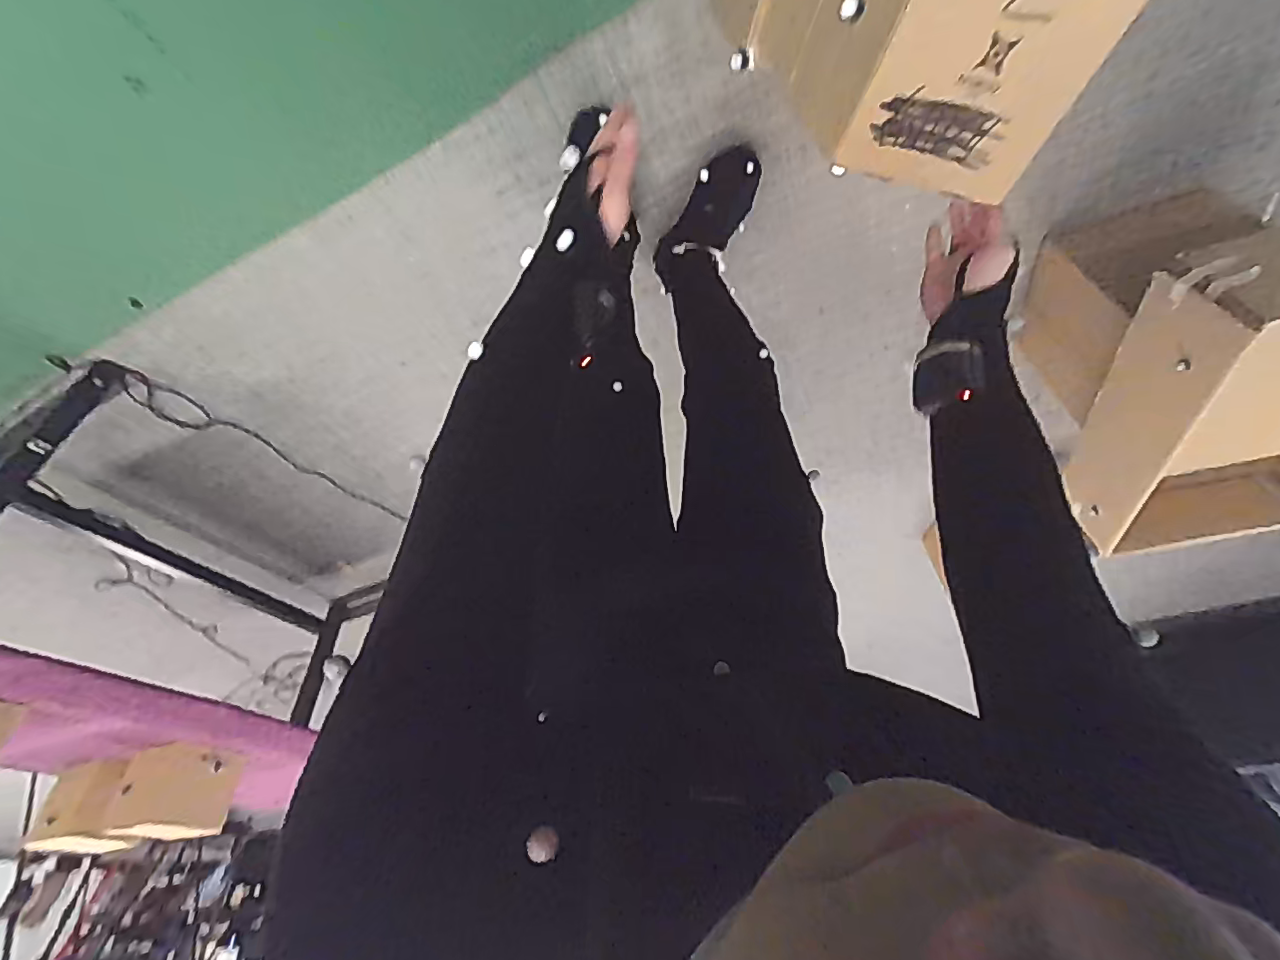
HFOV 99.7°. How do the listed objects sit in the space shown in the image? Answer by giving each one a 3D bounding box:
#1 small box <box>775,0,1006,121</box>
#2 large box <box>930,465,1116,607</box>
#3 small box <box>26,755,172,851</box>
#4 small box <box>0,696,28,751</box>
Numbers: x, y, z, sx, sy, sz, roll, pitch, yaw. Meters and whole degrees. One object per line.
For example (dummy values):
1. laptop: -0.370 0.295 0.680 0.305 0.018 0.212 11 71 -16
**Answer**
1. small box: 0.250 -0.505 0.541 0.168 0.176 0.179 6 140 -13
2. large box: 1.259 0.198 1.838 0.320 0.320 0.408 -3 139 -1
3. small box: -1.333 0.806 1.349 0.179 0.176 0.168 -20 137 17
4. small box: -1.245 0.460 0.934 0.179 0.176 0.168 -16 140 18
